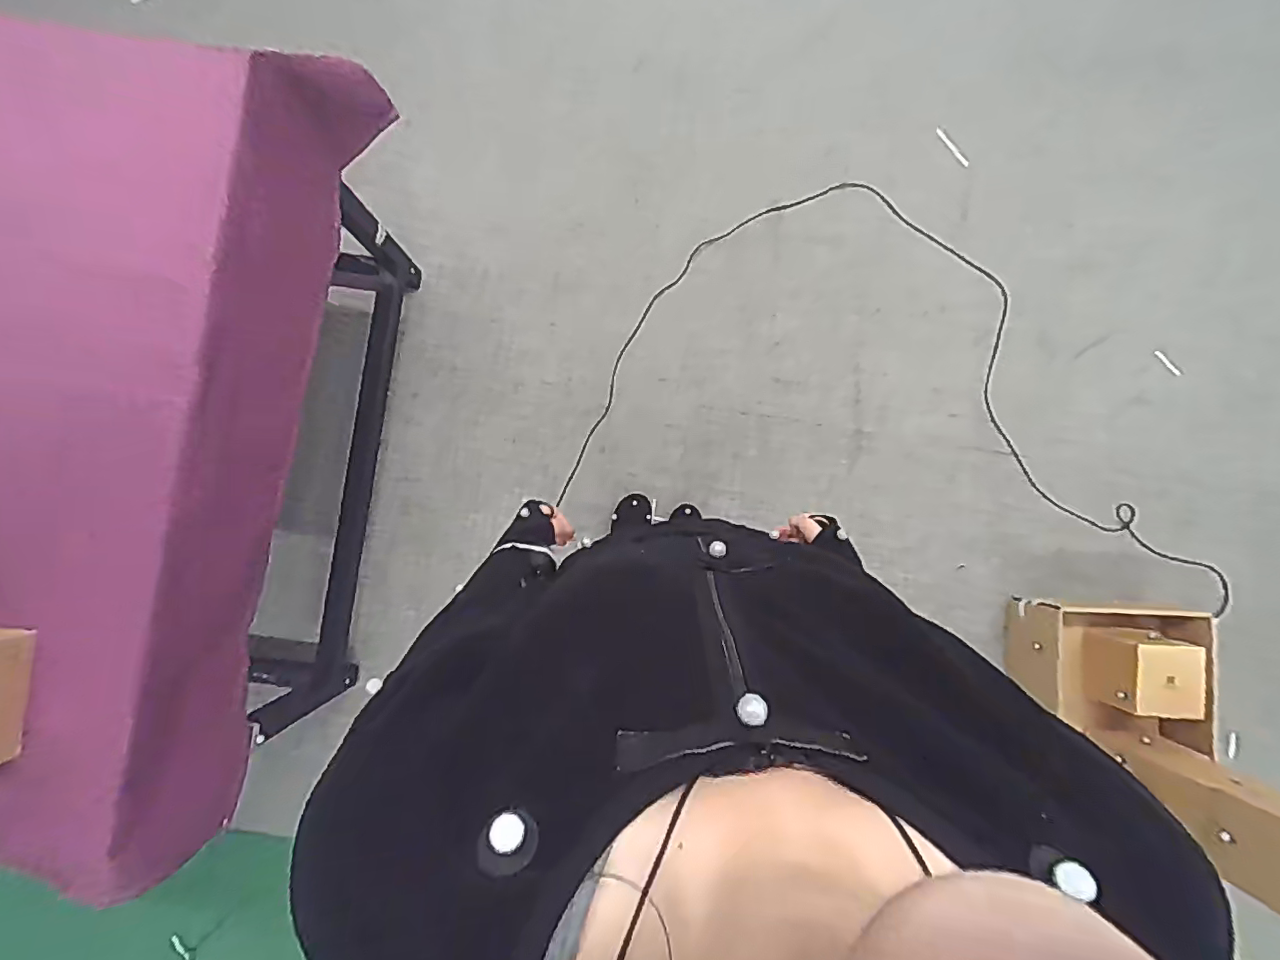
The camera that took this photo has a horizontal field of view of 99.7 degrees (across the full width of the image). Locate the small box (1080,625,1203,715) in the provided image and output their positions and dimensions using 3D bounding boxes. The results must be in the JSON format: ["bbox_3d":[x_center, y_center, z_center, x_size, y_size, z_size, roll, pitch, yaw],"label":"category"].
[{"bbox_3d":[1.278,0.479,1.388,0.168,0.176,0.179,3,89,1],"label":"small box"}]

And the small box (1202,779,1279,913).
[{"bbox_3d":[1.260,0.721,1.050,0.168,0.176,0.179,8,88,0],"label":"small box"}]

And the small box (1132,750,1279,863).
[{"bbox_3d":[1.273,0.730,1.215,0.179,0.176,0.168,4,87,0],"label":"small box"}]
